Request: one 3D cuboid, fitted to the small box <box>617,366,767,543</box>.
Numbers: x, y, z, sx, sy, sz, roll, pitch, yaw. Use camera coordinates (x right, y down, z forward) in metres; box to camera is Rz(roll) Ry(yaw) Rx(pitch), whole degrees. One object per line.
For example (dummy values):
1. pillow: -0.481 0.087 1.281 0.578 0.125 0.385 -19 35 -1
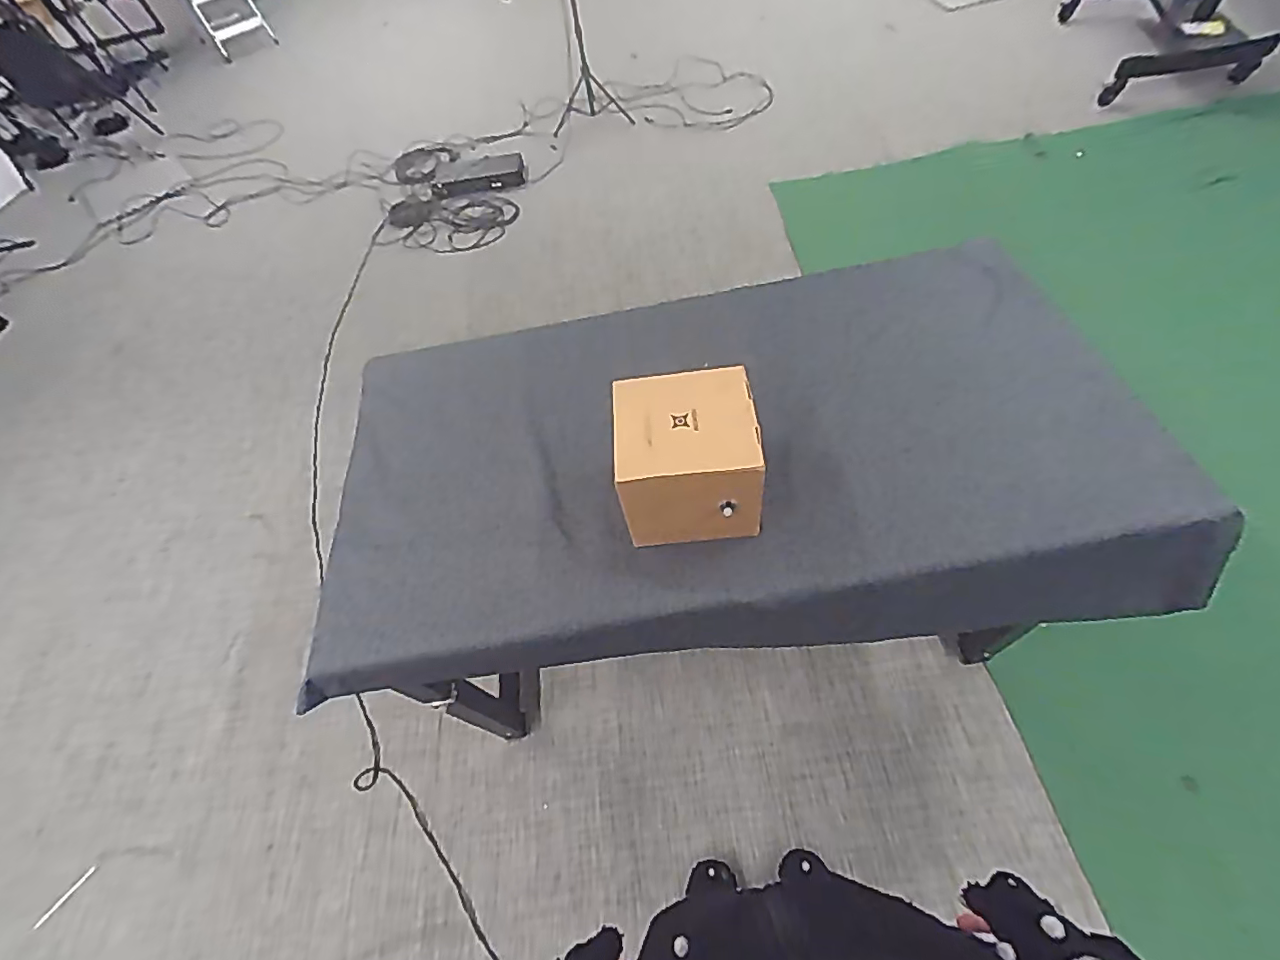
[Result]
1. small box: 0.068 -0.028 0.735 0.179 0.176 0.168 -7 55 6
